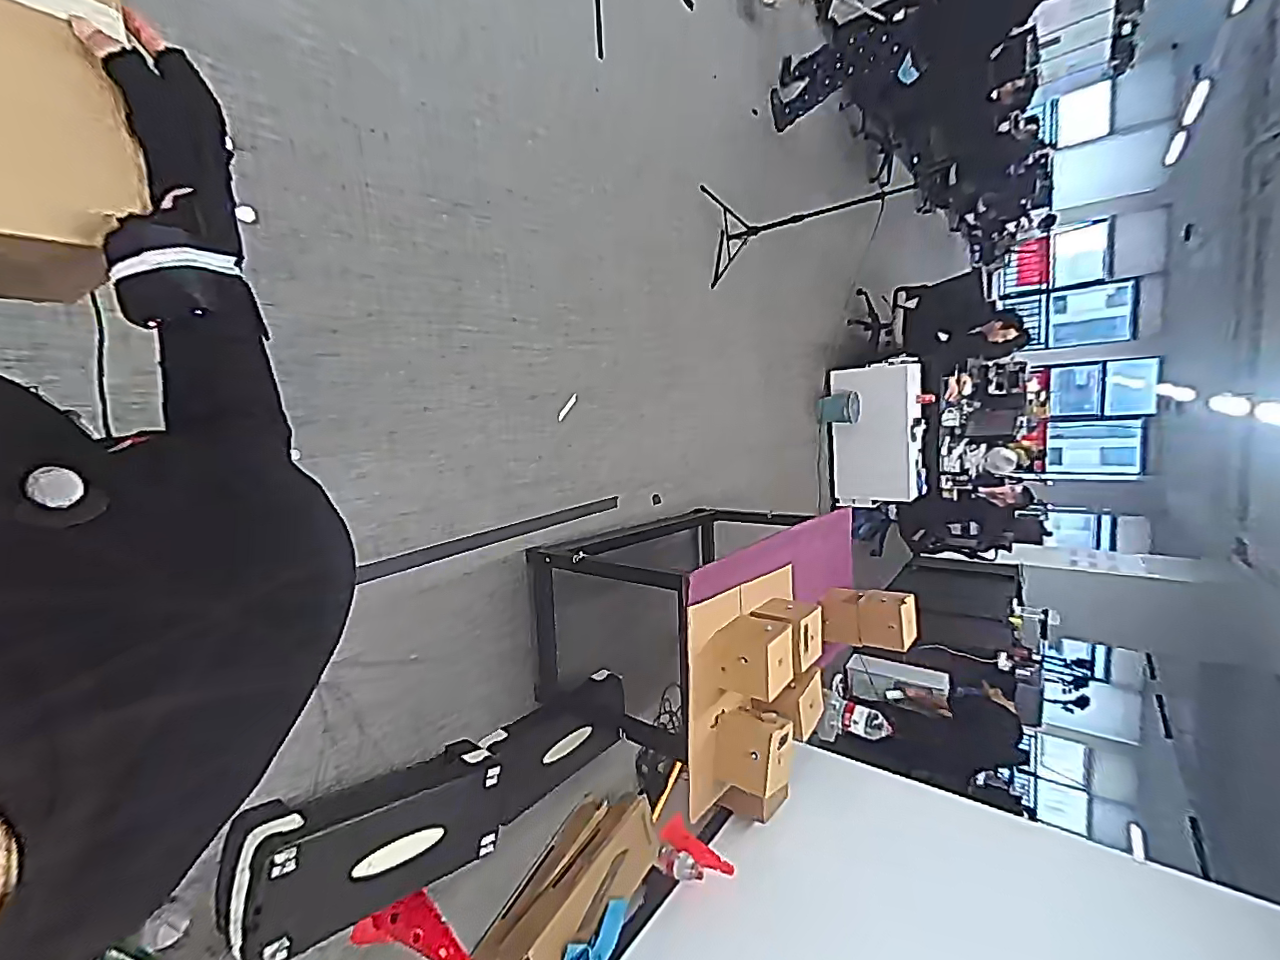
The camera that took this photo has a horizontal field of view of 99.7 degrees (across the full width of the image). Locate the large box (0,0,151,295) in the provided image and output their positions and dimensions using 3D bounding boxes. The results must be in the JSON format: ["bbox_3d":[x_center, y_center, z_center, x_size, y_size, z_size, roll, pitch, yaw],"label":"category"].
[{"bbox_3d":[-0.626,-0.311,0.327,0.408,0.320,0.320,-14,106,-54],"label":"large box"}]
